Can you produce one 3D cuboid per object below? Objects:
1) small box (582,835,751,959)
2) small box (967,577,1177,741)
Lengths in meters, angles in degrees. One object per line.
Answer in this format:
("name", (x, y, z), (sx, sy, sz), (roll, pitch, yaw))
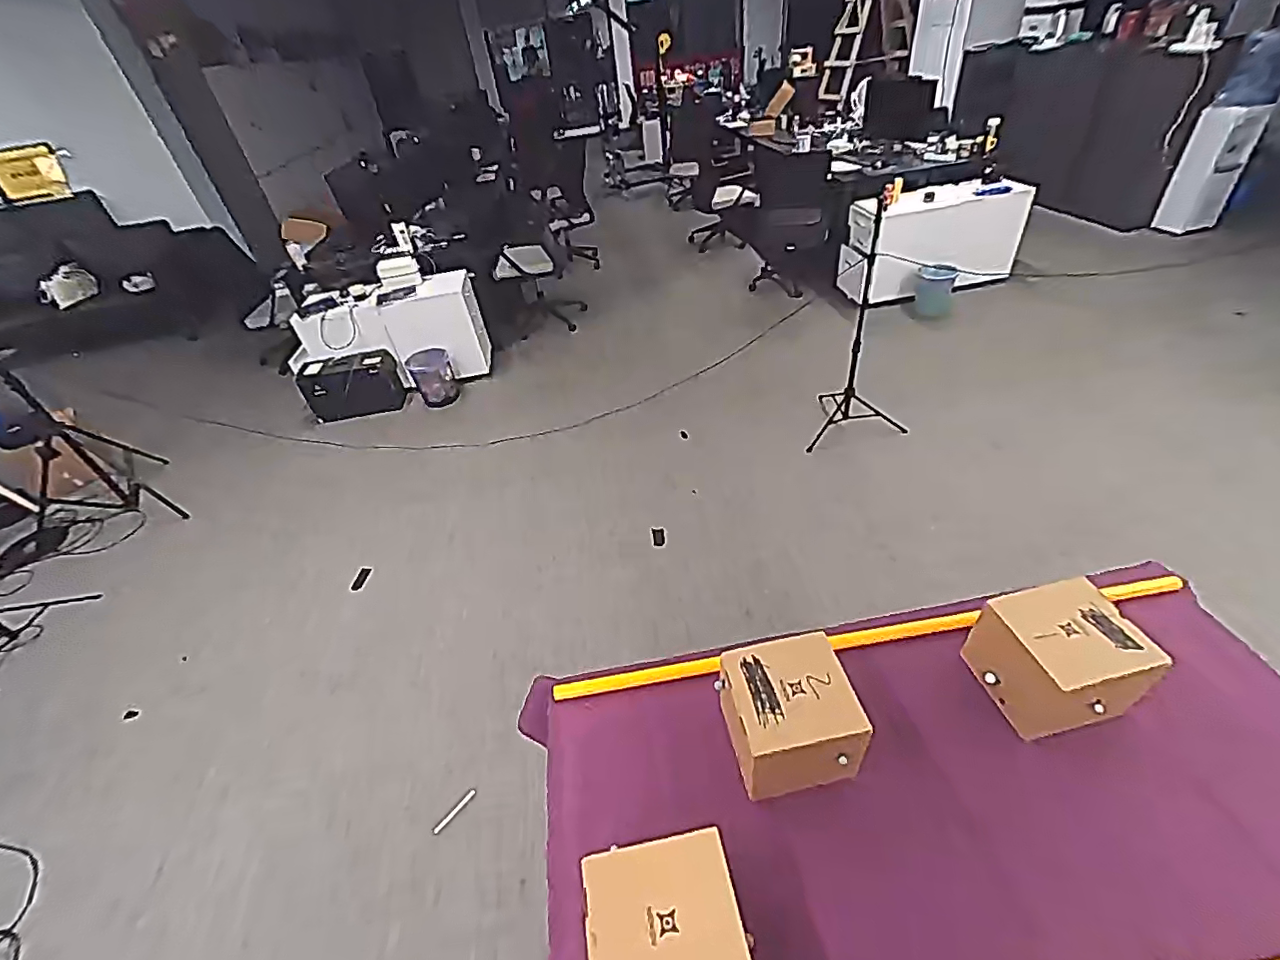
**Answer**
("small box", (0.034, 0.565, 0.653), (0.179, 0.176, 0.168), (-11, 39, -4))
("small box", (0.667, 0.286, 0.864), (0.179, 0.176, 0.168), (-14, 41, -3))
